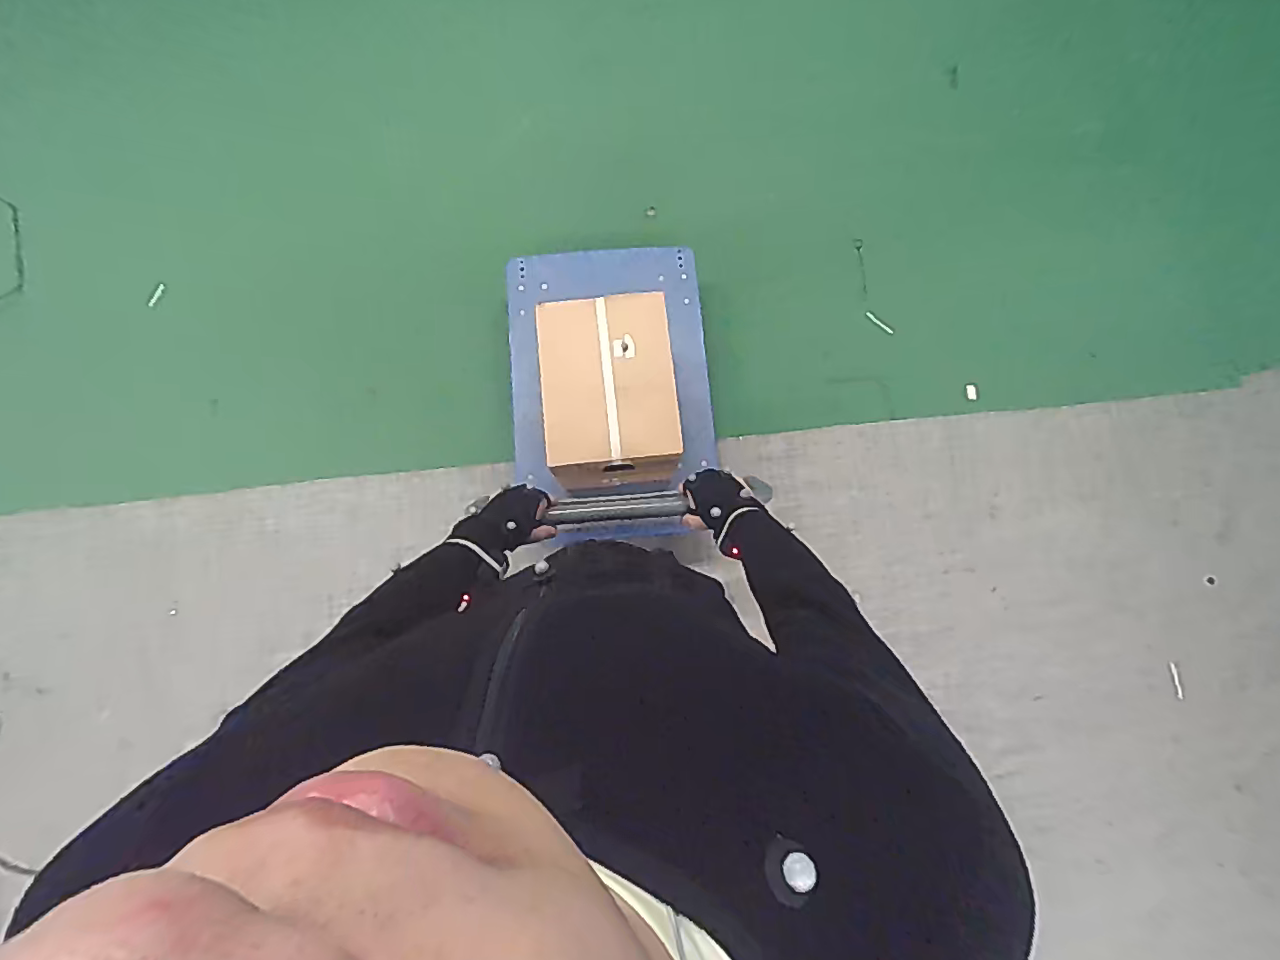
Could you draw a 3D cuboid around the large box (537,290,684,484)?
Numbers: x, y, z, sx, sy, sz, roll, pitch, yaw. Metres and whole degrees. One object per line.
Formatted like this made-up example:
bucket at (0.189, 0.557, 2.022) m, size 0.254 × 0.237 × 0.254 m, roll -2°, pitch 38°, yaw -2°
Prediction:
large box at (-0.074, -0.223, 1.415) m, size 0.320 × 0.320 × 0.408 m, roll -6°, pitch 80°, yaw -2°
